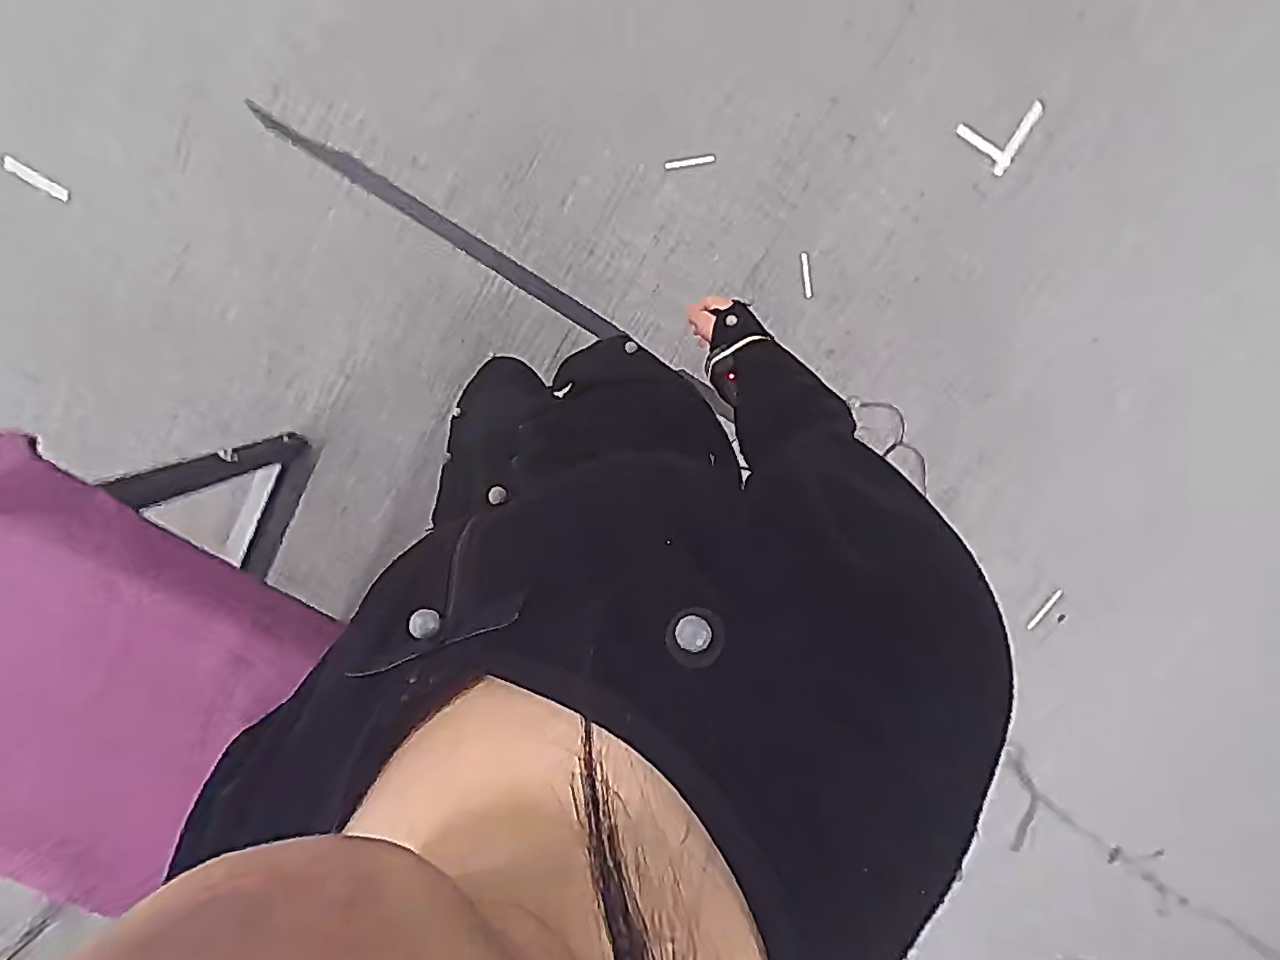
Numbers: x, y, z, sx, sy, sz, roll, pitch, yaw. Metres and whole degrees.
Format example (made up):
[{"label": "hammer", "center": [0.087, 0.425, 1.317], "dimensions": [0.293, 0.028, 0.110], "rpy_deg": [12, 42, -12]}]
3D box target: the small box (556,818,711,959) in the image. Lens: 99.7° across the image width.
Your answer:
[{"label": "small box", "center": [-0.018, 0.665, 0.820], "dimensions": [0.168, 0.176, 0.179], "rpy_deg": [31, 101, -8]}]
